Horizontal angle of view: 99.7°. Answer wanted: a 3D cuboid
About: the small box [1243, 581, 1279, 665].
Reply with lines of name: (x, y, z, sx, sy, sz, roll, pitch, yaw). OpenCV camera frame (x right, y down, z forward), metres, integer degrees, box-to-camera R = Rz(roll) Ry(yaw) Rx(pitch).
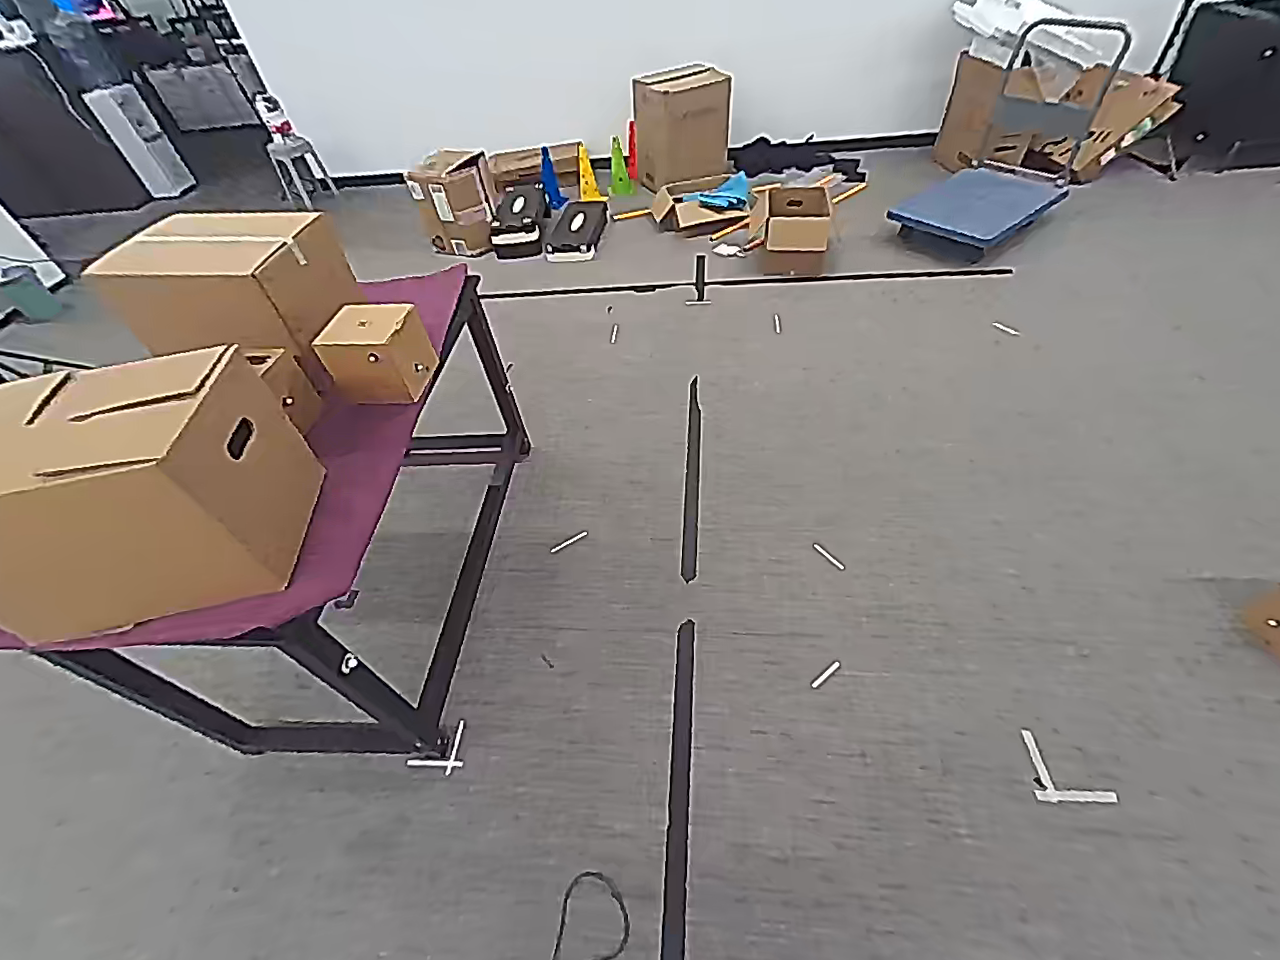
small box: (1.724, 0.369, 1.380, 0.179, 0.176, 0.168, -1, 47, 5)
